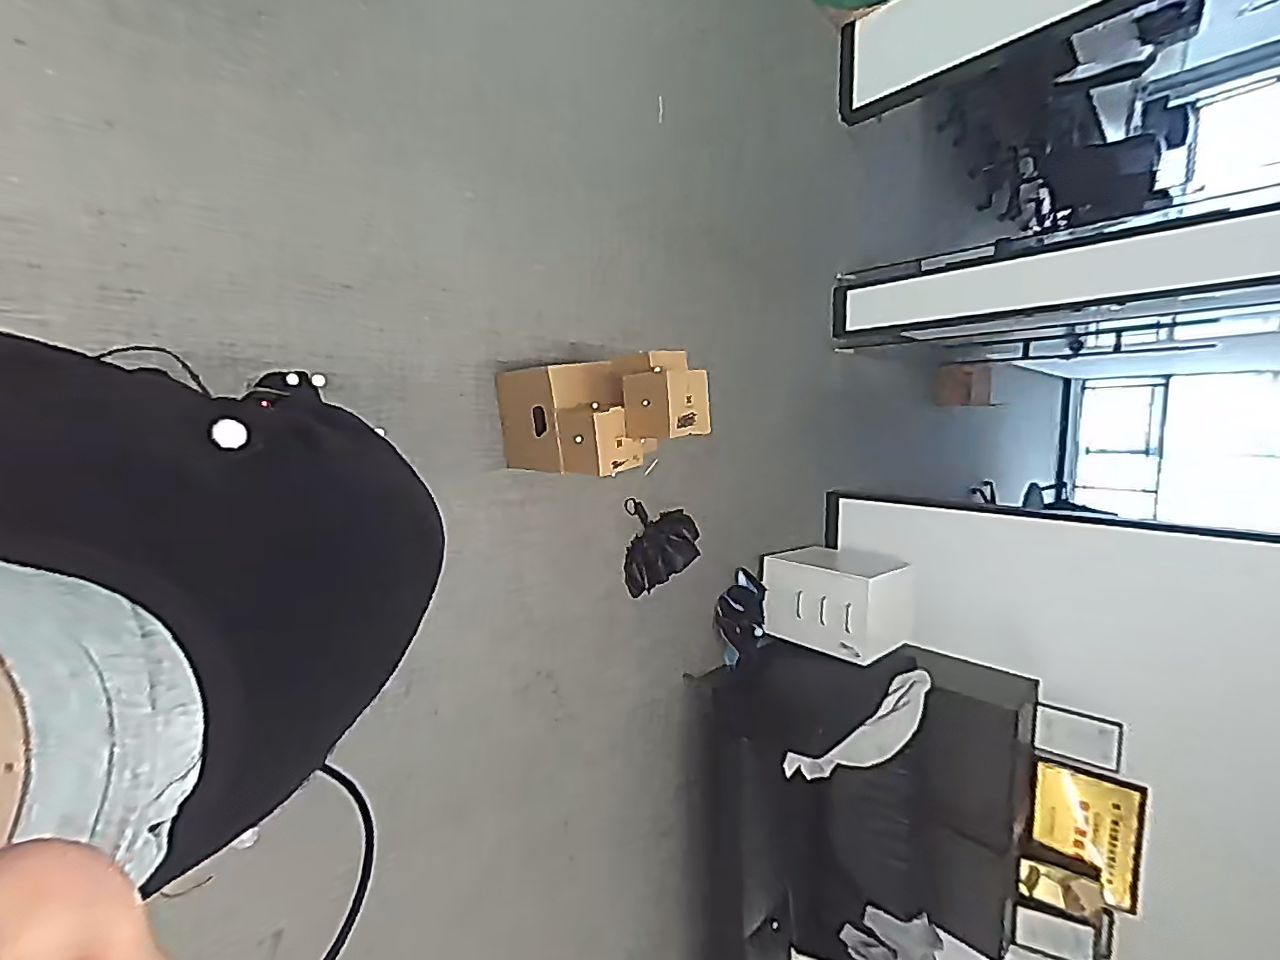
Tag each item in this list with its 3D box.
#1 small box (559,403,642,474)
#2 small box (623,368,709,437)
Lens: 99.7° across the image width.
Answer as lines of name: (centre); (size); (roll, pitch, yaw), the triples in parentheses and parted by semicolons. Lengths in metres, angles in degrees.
small box: (-0.116, -0.123, 1.545); (0.168, 0.176, 0.179); (-18, 107, -41)
small box: (0.070, -0.211, 1.485); (0.168, 0.176, 0.179); (-11, 100, -43)
